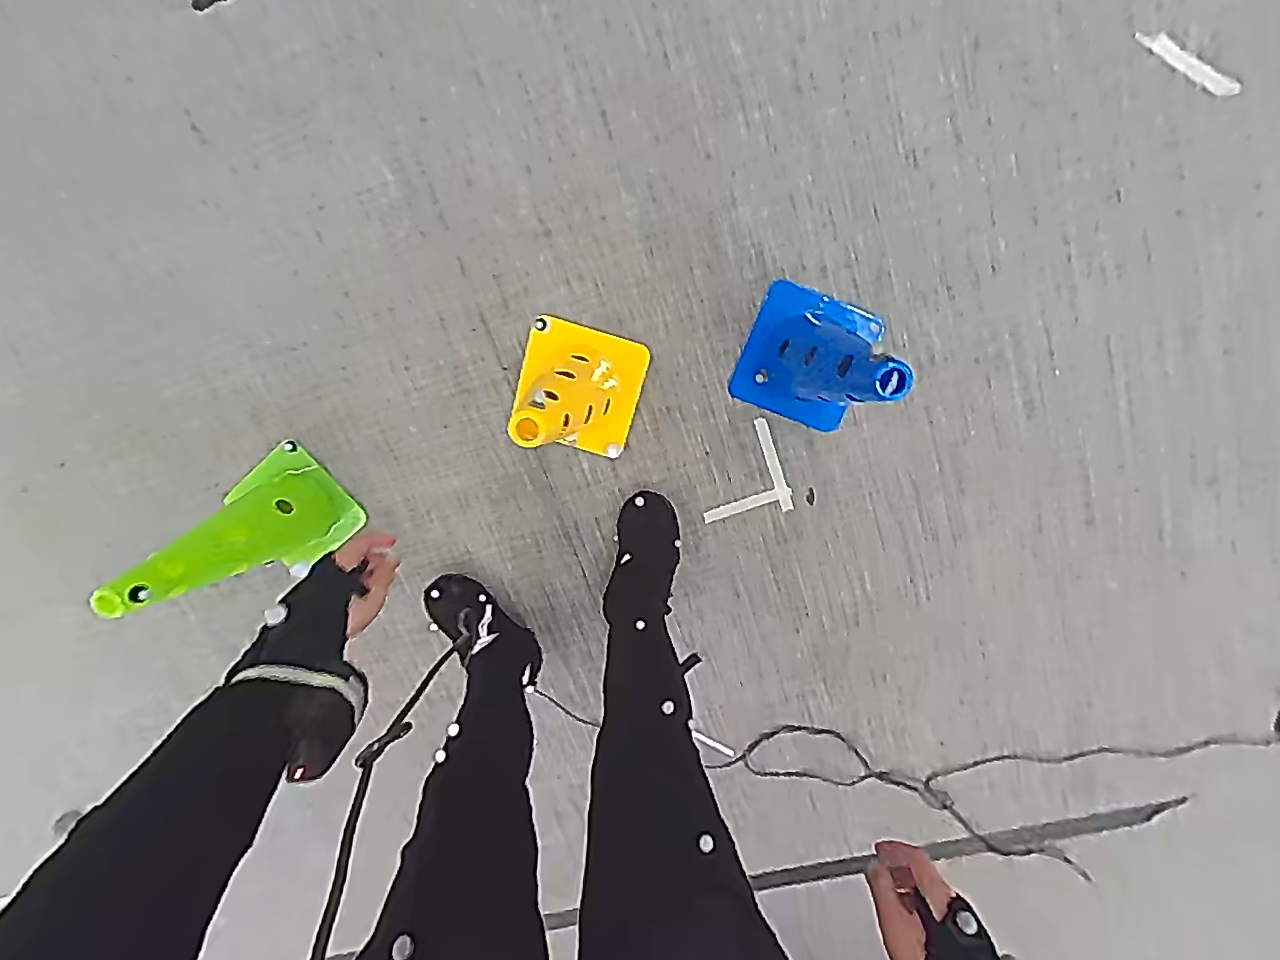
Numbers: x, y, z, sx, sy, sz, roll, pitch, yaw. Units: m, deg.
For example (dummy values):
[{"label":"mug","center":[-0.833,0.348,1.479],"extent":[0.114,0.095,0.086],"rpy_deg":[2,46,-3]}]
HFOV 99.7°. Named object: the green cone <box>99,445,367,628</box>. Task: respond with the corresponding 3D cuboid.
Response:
[{"label":"green cone","center":[-0.636,0.109,0.826],"extent":[0.200,0.368,0.202],"rpy_deg":[-38,102,13]}]
